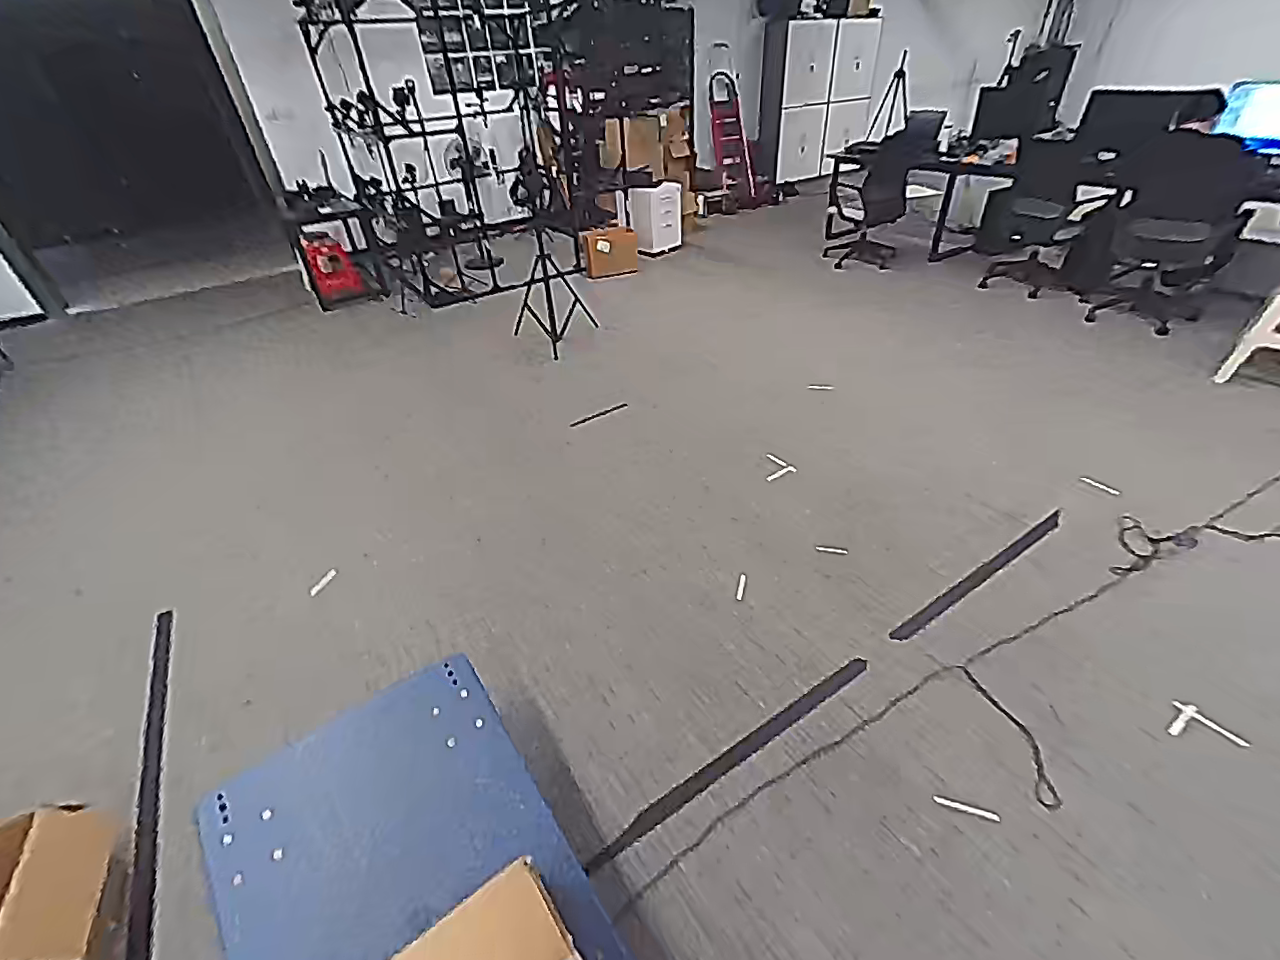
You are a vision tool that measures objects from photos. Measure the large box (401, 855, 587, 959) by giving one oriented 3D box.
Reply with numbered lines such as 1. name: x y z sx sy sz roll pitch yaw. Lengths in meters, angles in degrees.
1. large box: -0.258 0.874 0.814 0.408 0.320 0.320 -27 60 -28
